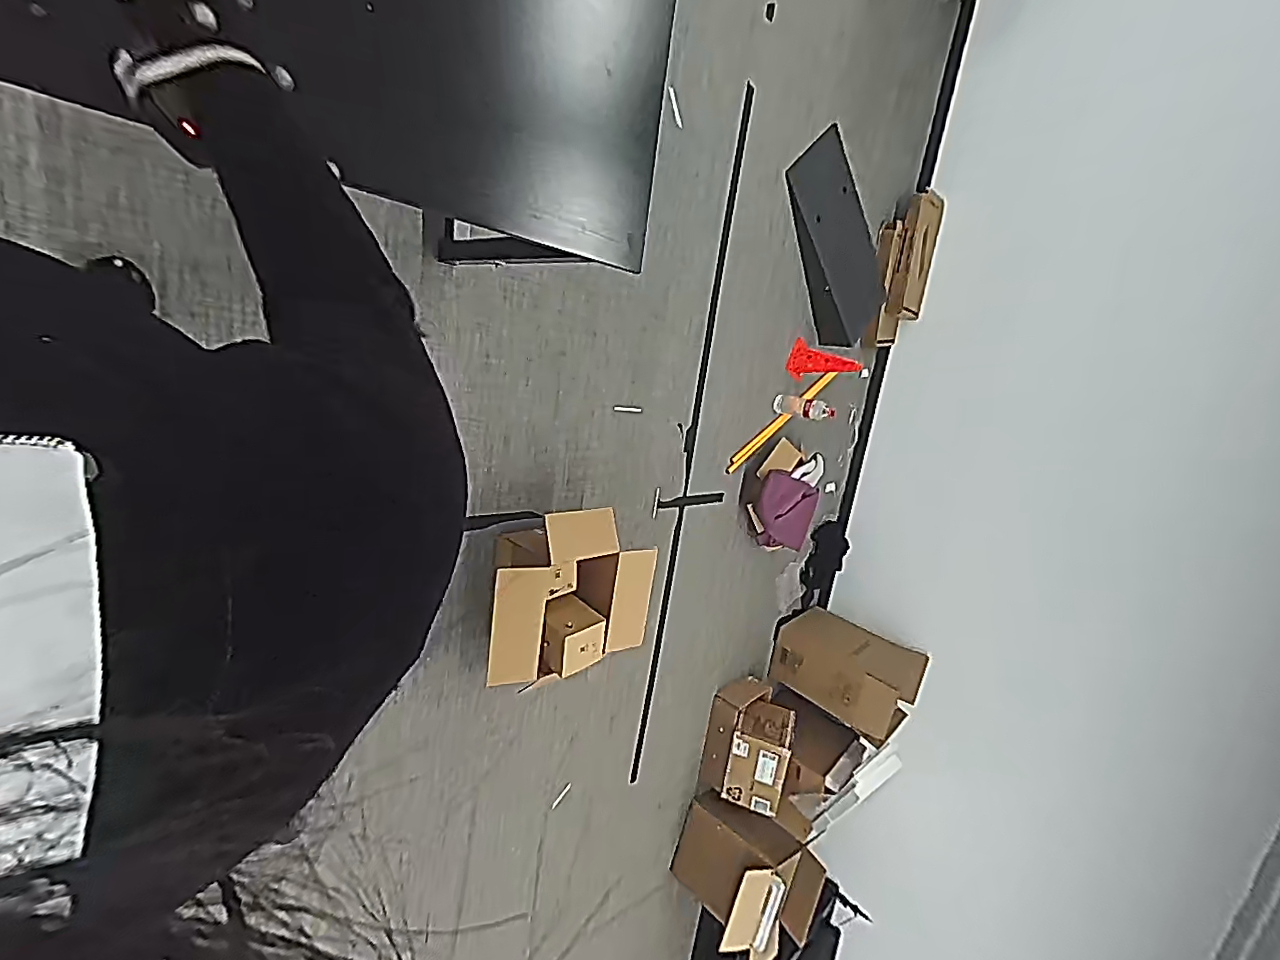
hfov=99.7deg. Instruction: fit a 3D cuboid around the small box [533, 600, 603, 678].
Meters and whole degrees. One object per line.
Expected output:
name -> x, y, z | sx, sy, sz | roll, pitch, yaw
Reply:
small box -> -0.250, 0.537, 1.850 | 0.179, 0.176, 0.168 | -12, 118, -44
